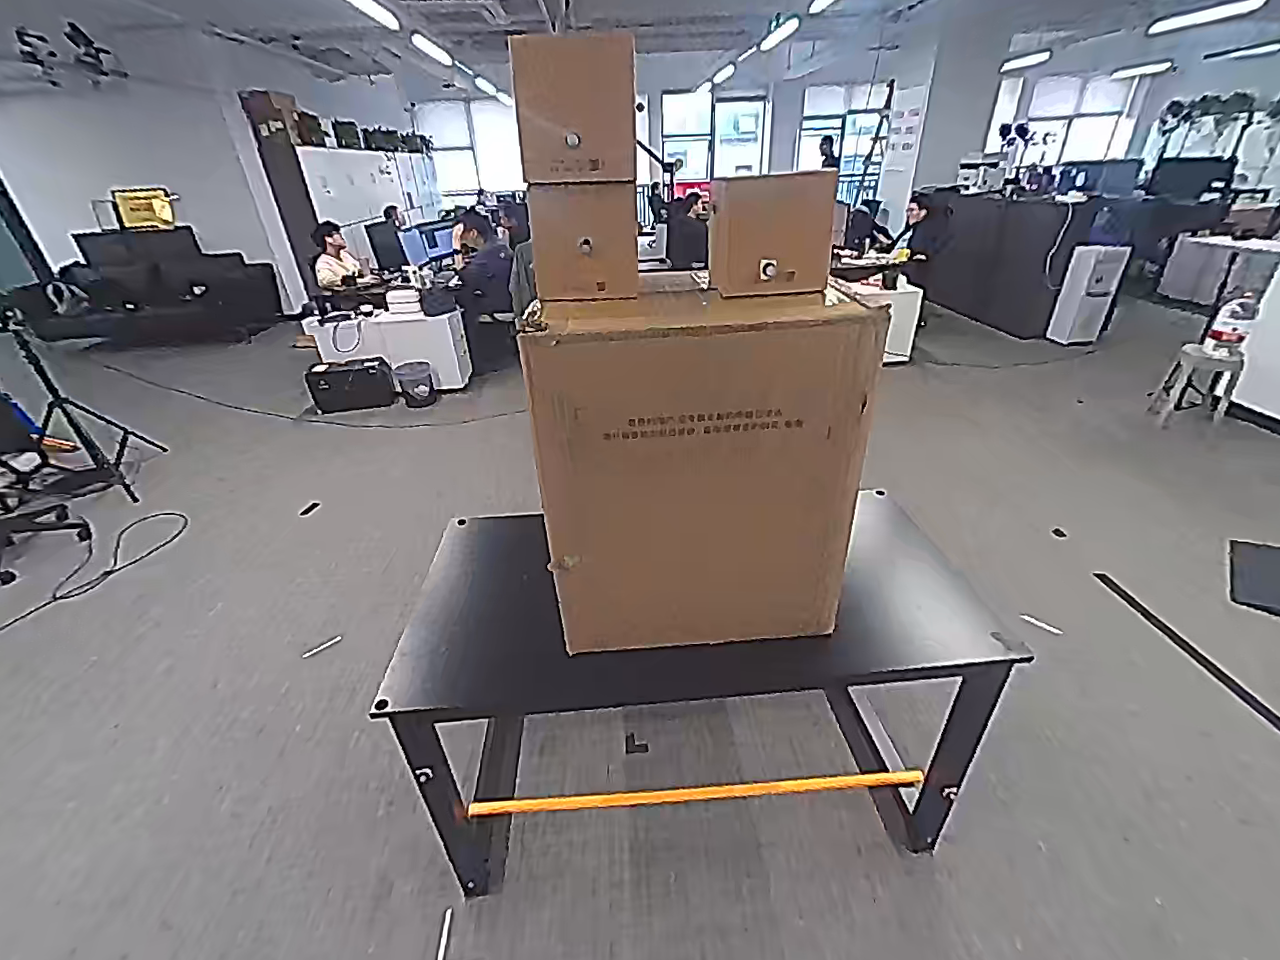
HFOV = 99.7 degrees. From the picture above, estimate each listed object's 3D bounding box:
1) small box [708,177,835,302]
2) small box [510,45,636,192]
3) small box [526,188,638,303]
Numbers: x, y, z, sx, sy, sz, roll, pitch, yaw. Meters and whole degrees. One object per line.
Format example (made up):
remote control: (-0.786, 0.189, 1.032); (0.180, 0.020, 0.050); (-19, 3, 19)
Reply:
small box: (0.203, -0.396, 0.889); (0.168, 0.176, 0.179); (-5, 30, 1)
small box: (-0.091, -0.535, 0.818); (0.168, 0.176, 0.179); (-2, 30, -2)
small box: (-0.091, -0.399, 0.914); (0.168, 0.176, 0.179); (-3, 30, -3)
